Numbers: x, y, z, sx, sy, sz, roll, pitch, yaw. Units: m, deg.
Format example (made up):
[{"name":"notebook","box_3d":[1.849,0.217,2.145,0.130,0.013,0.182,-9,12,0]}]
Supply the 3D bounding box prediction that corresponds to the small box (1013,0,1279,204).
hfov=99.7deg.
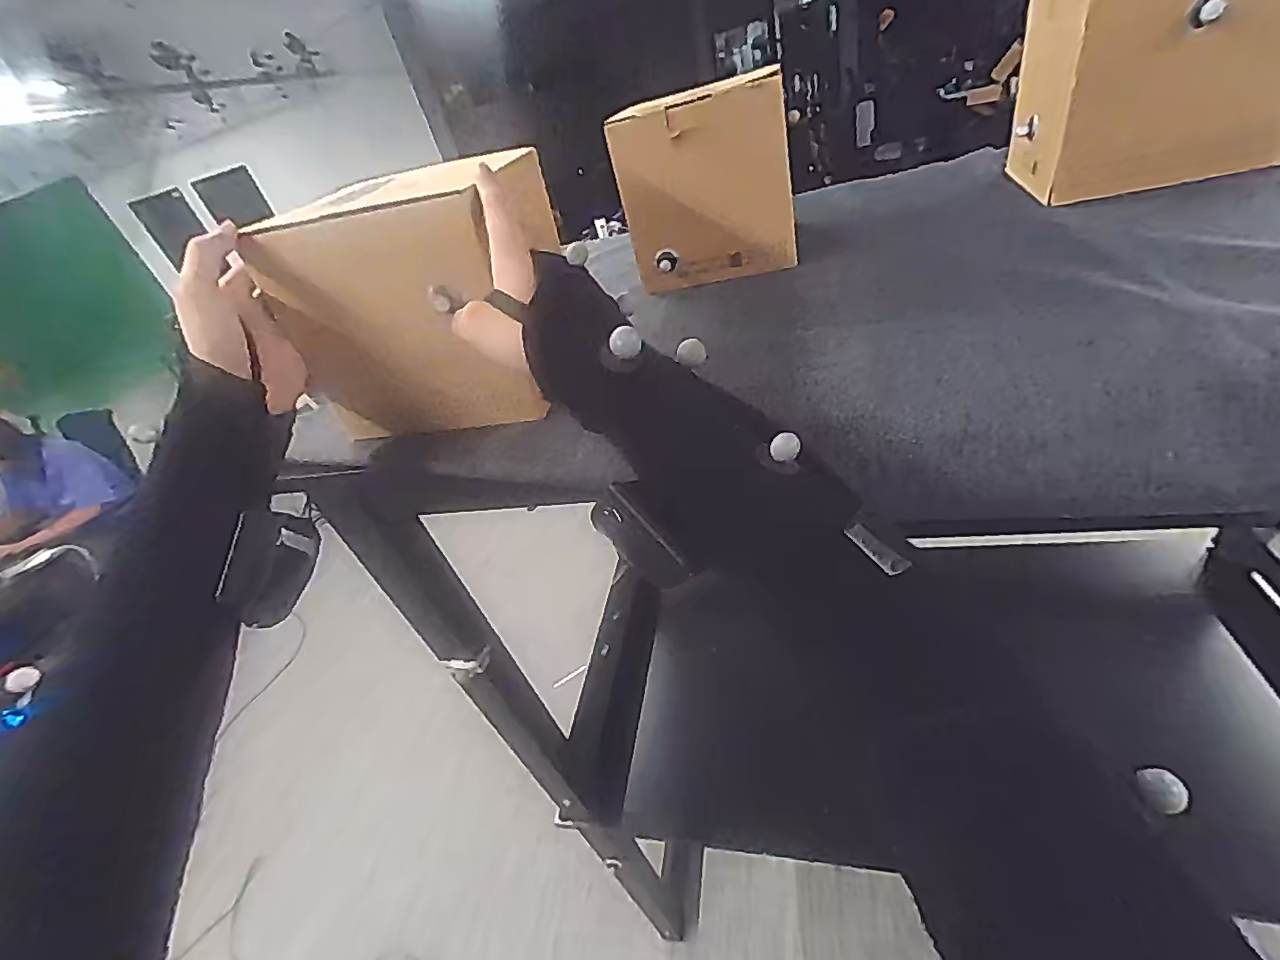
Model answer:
[{"name":"small box","box_3d":[0.470,-0.375,0.491,0.179,0.176,0.168,-3,38,21]}]

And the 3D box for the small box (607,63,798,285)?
[{"name":"small box","box_3d":[0.081,-0.327,0.594,0.168,0.176,0.179,-5,36,18]}]
